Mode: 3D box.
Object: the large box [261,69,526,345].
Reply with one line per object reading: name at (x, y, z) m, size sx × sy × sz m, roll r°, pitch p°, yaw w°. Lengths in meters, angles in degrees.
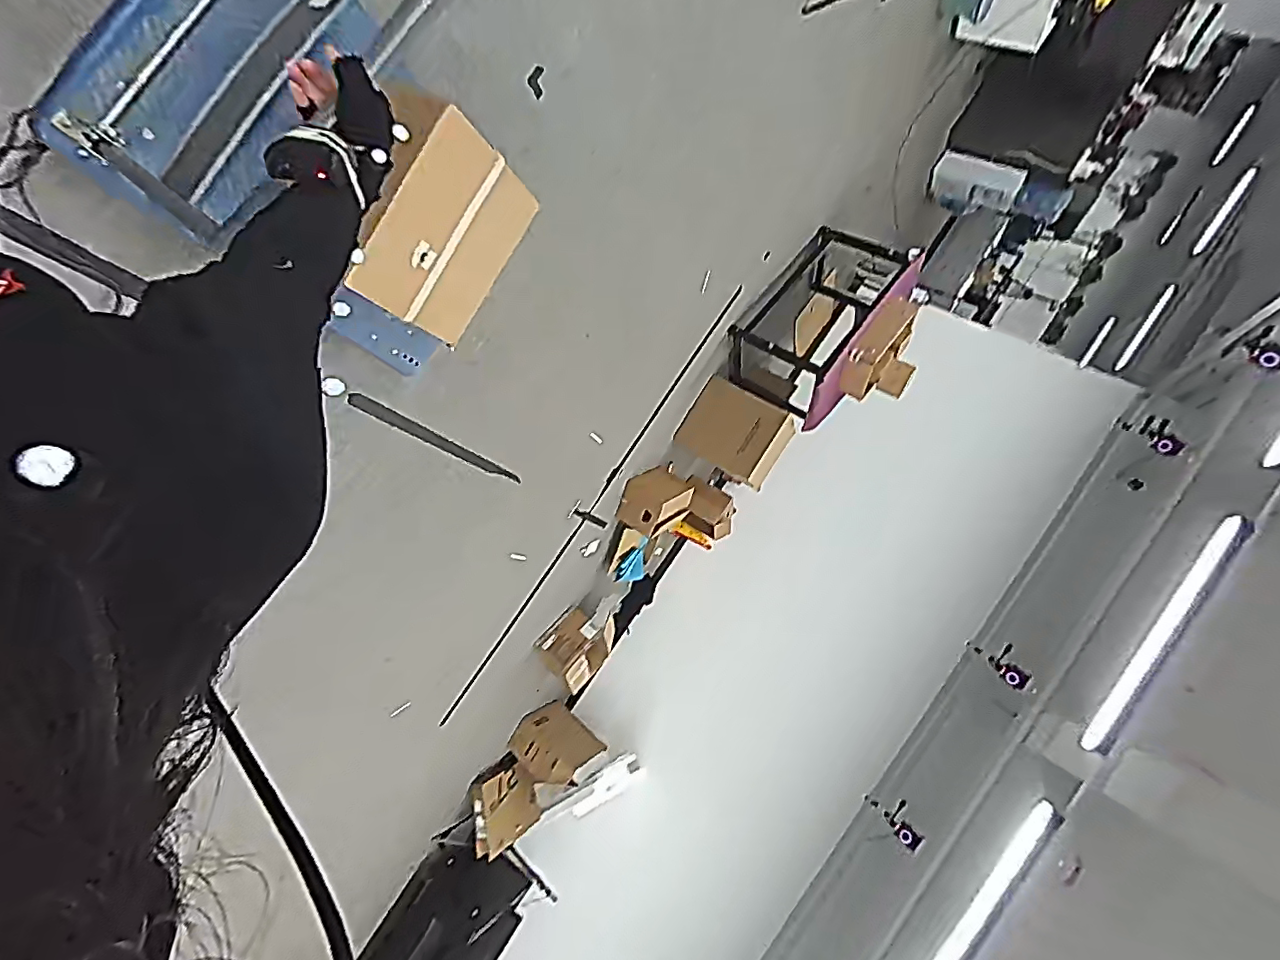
large box at (-0.540, -0.594, 1.216) m, size 0.408 × 0.320 × 0.320 m, roll -57°, pitch 156°, yaw 3°
